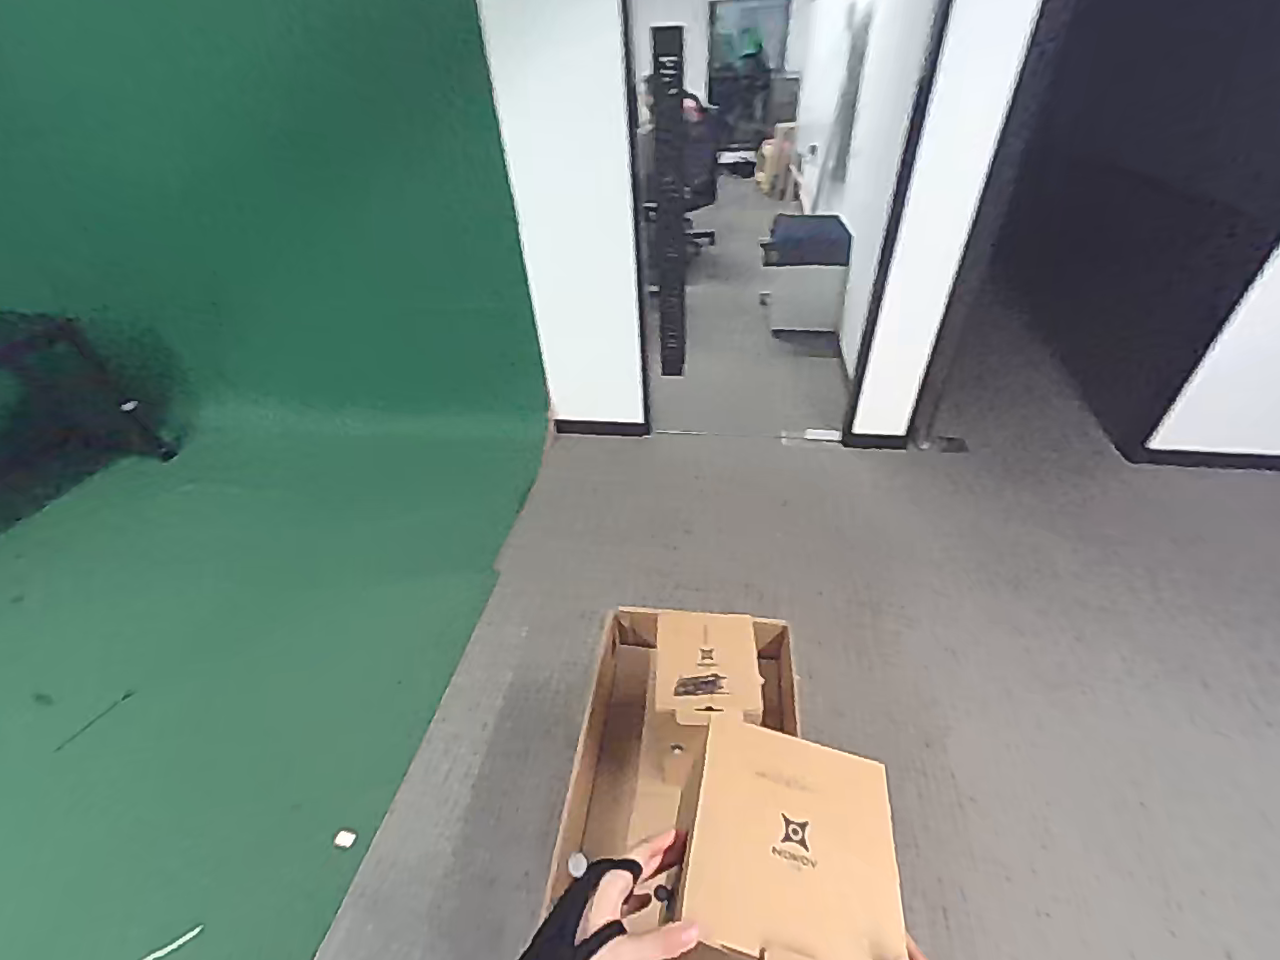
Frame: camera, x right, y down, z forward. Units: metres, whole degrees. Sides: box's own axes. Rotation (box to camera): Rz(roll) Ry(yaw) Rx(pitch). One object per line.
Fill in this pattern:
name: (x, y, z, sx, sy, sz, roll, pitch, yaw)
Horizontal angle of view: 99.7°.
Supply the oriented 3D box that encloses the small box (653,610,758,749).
small box: (0.112, 0.348, 0.941, 0.168, 0.176, 0.179, 0, 42, 5)
